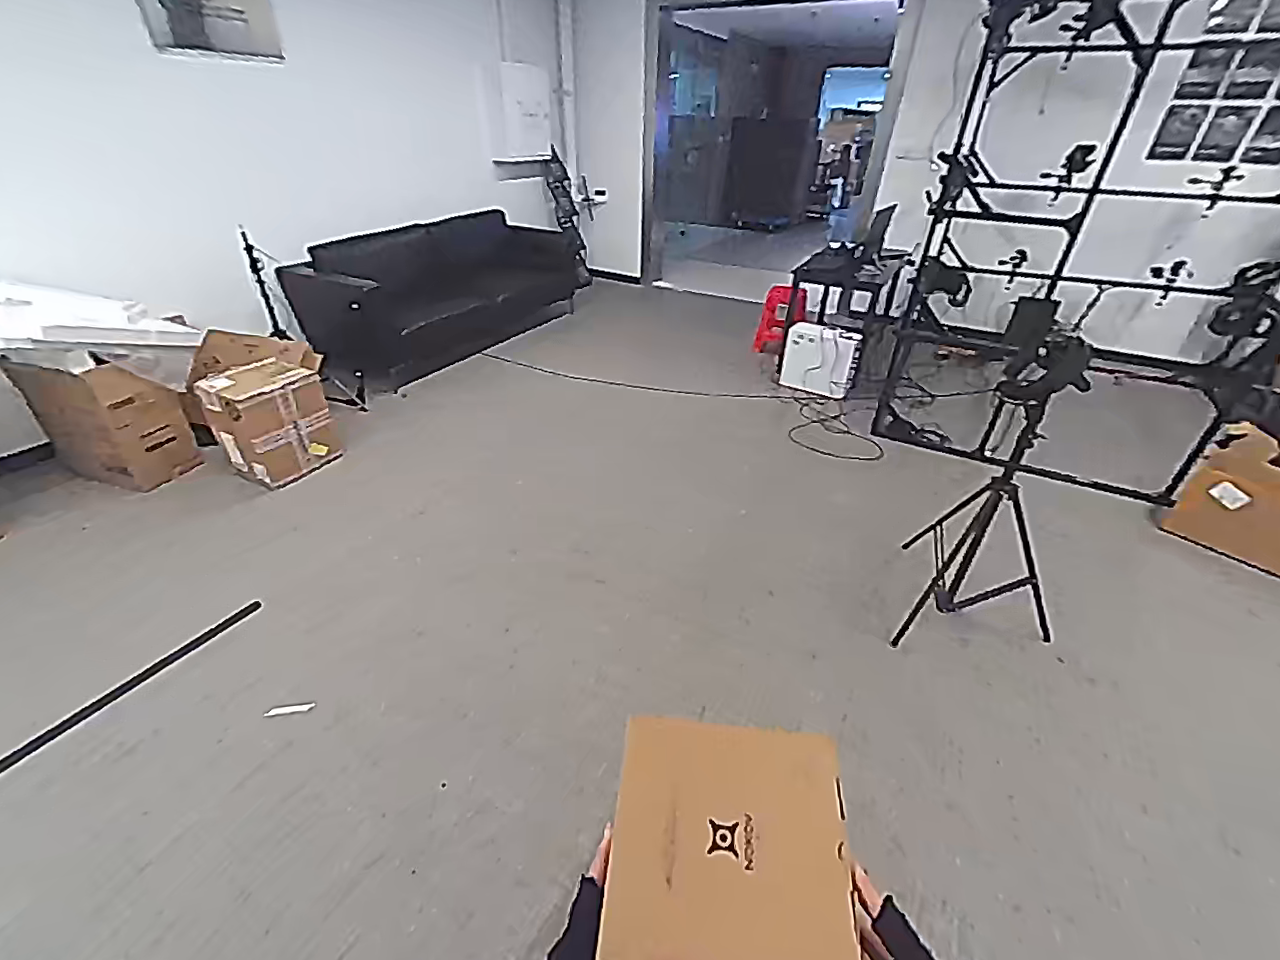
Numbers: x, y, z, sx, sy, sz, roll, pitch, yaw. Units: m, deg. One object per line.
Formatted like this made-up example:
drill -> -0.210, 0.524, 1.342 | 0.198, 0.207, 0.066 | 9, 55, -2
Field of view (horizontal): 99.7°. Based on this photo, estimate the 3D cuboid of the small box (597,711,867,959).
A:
small box -> 0.069, 0.316, 0.454 | 0.179, 0.176, 0.168 | 2, 44, 6
